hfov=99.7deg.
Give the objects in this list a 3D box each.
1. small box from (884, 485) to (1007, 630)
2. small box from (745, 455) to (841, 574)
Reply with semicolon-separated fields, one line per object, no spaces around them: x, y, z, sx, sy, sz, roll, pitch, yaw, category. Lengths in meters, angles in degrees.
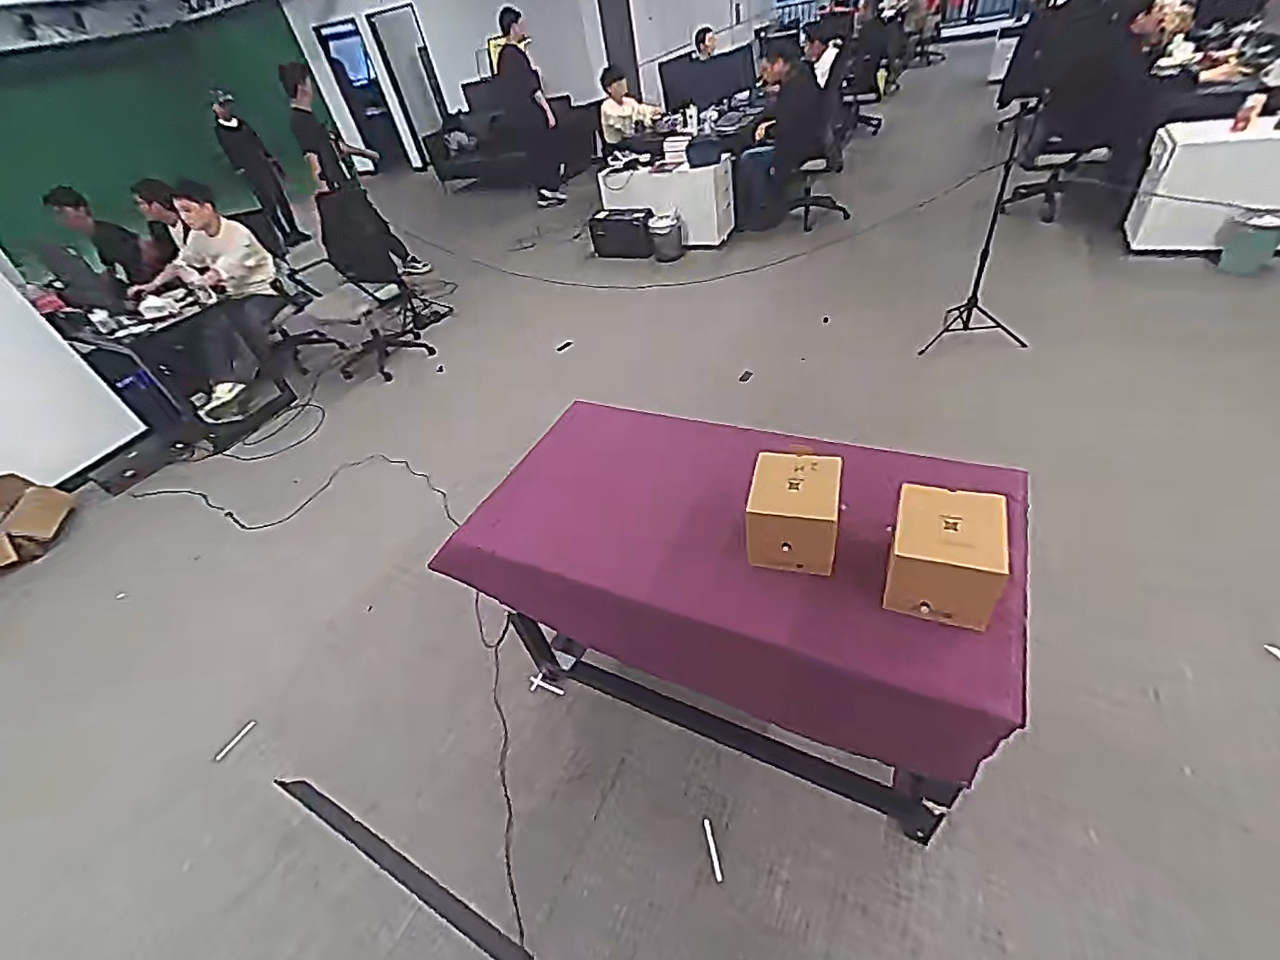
0.545;0.138;0.979;0.168;0.176;0.179;9;45;24;small box
0.317;0.071;1.111;0.168;0.176;0.179;5;44;19;small box
